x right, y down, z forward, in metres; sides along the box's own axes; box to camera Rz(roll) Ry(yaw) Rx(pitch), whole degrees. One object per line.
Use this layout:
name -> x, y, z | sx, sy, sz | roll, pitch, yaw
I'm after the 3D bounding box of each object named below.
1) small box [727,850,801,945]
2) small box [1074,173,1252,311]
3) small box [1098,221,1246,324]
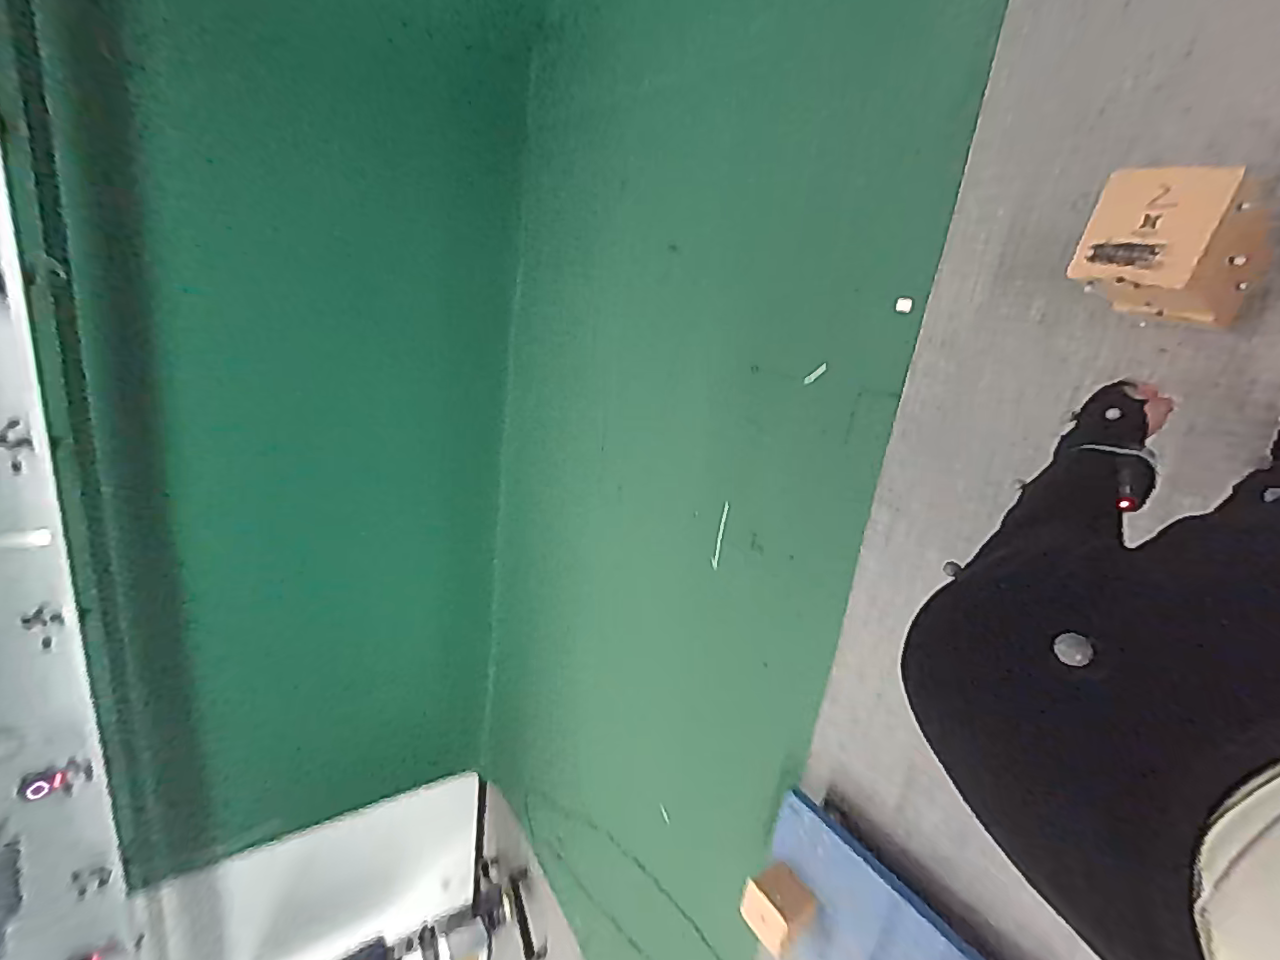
small box -> 0.443, 1.469, 1.917 | 0.179, 0.176, 0.168 | 30, 115, 47
small box -> 1.000, -0.445, 1.039 | 0.168, 0.176, 0.179 | -53, 53, 44
small box -> 1.122, -0.435, 1.136 | 0.168, 0.176, 0.179 | 34, 119, 46
